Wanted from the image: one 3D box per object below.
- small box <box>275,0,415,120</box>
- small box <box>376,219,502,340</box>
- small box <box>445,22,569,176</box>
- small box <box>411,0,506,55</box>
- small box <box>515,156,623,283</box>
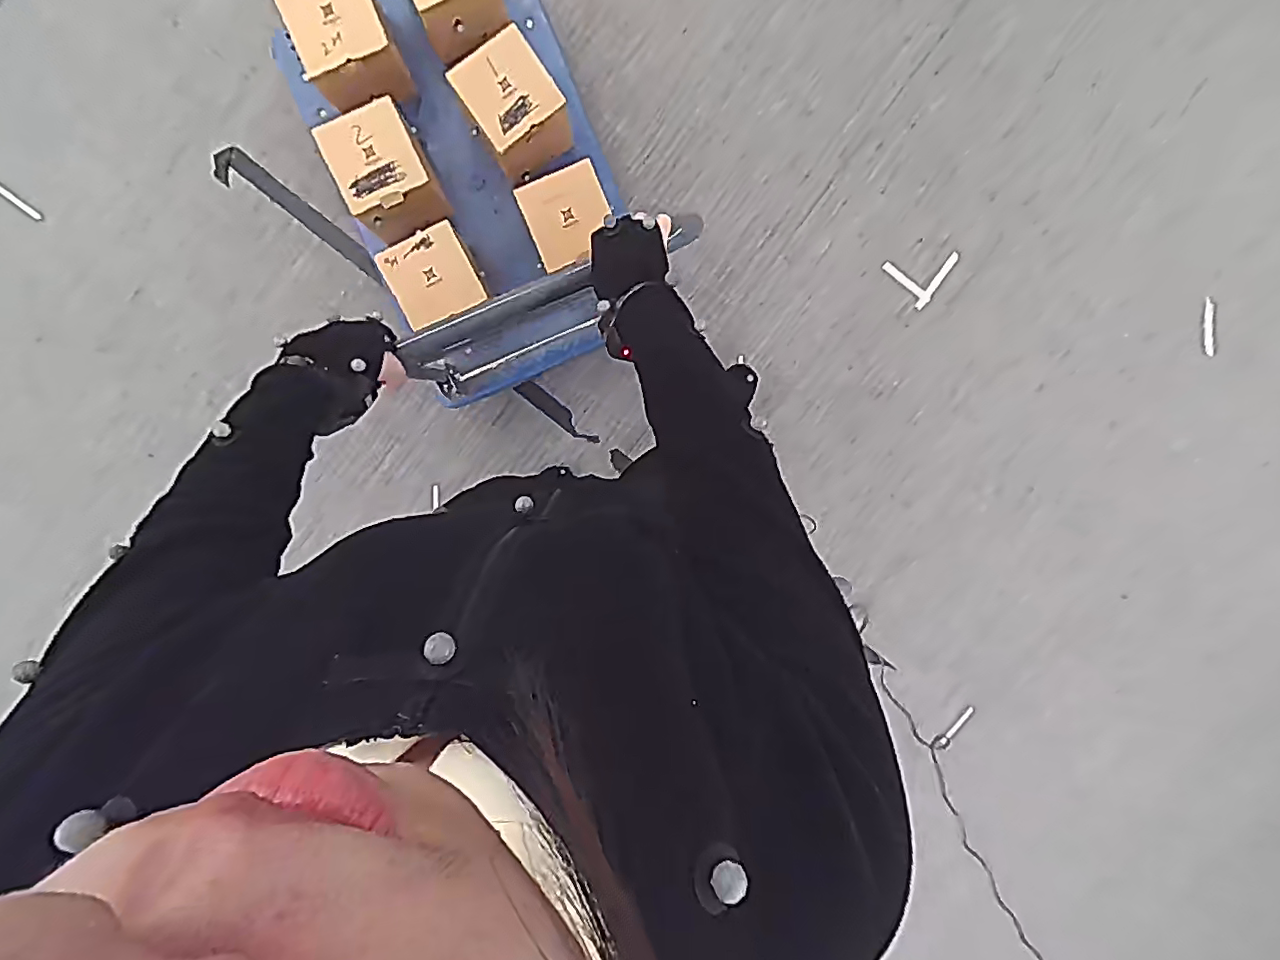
[{"bbox_3d":[-0.585,-0.876,1.085,0.168,0.176,0.179,-23,98,0],"label":"small box"},{"bbox_3d":[-0.414,-0.412,1.149,0.168,0.176,0.179,-28,98,-1],"label":"small box"},{"bbox_3d":[-0.262,-0.766,1.117,0.168,0.176,0.179,-36,97,1],"label":"small box"},{"bbox_3d":[-0.388,-1.005,1.082,0.168,0.176,0.179,-27,97,1],"label":"small box"},{"bbox_3d":[-0.144,-0.539,1.152,0.168,0.176,0.179,-24,97,-1],"label":"small box"}]
